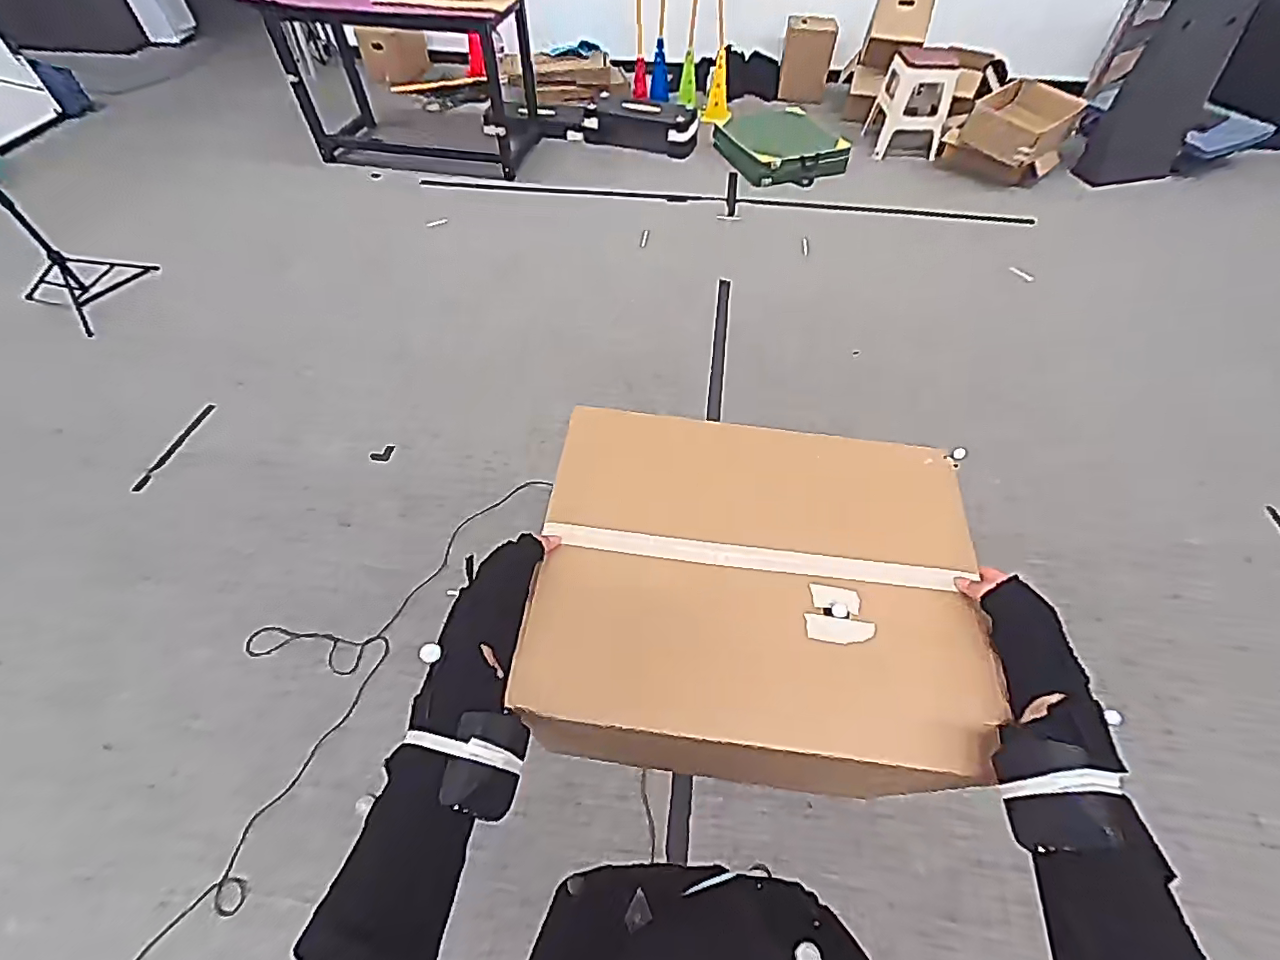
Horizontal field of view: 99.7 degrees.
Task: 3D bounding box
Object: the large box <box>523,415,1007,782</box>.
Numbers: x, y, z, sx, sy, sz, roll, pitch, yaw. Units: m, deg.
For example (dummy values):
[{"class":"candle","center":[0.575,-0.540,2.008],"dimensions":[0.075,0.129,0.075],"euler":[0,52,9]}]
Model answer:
[{"class":"large box","center":[0.106,0.154,0.639],"dimensions":[0.408,0.320,0.320],"euler":[7,59,1]}]
